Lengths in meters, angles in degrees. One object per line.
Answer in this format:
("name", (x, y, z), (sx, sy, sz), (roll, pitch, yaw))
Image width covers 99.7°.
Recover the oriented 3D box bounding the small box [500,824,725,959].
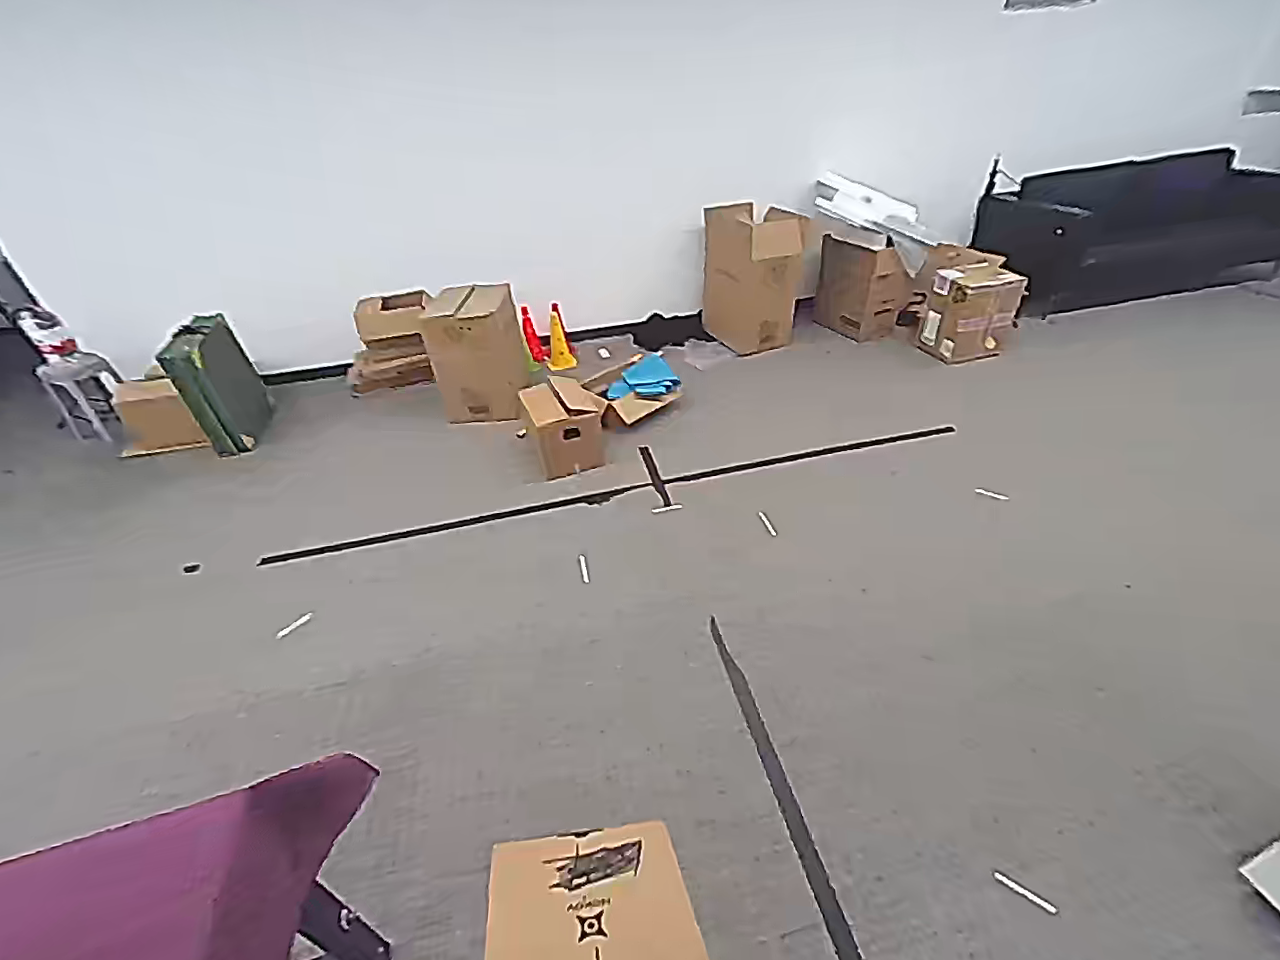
("small box", (-0.027, 0.427, 0.439), (0.168, 0.176, 0.179), (-2, 6, -11))
